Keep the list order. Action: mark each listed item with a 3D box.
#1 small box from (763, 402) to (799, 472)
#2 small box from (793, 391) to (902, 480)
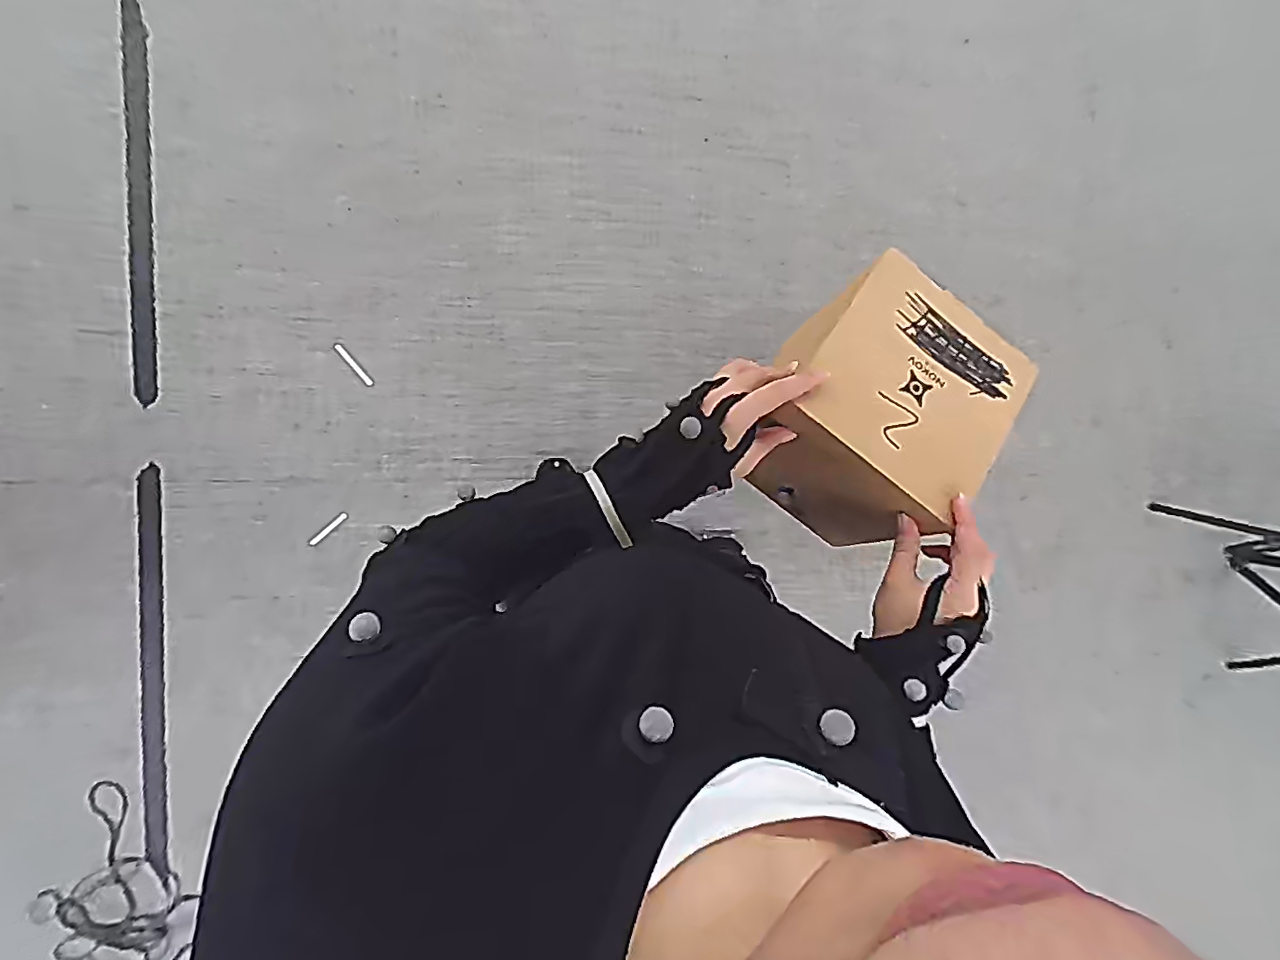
[{"bbox_3d":[0.419,-0.101,1.354,0.179,0.176,0.168,2,93,-8],"label":"small box"},{"bbox_3d":[0.449,-0.095,1.194,0.168,0.176,0.179,-5,94,-7],"label":"small box"}]
